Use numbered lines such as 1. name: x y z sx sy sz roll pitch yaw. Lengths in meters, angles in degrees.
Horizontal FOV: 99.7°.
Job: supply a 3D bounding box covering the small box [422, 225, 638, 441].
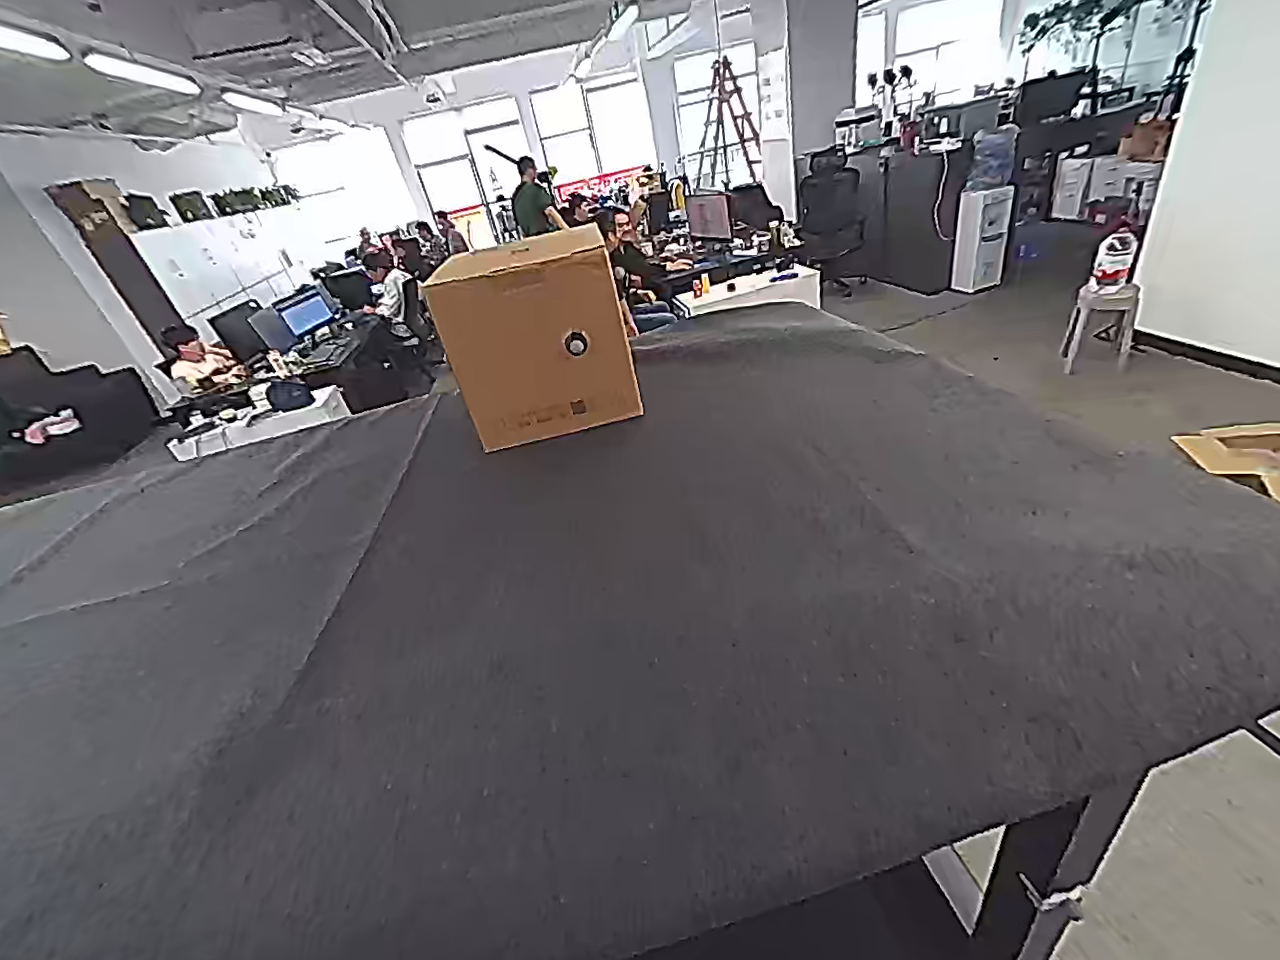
1. small box: -0.103 -0.153 0.571 0.168 0.176 0.179 -12 32 -1
